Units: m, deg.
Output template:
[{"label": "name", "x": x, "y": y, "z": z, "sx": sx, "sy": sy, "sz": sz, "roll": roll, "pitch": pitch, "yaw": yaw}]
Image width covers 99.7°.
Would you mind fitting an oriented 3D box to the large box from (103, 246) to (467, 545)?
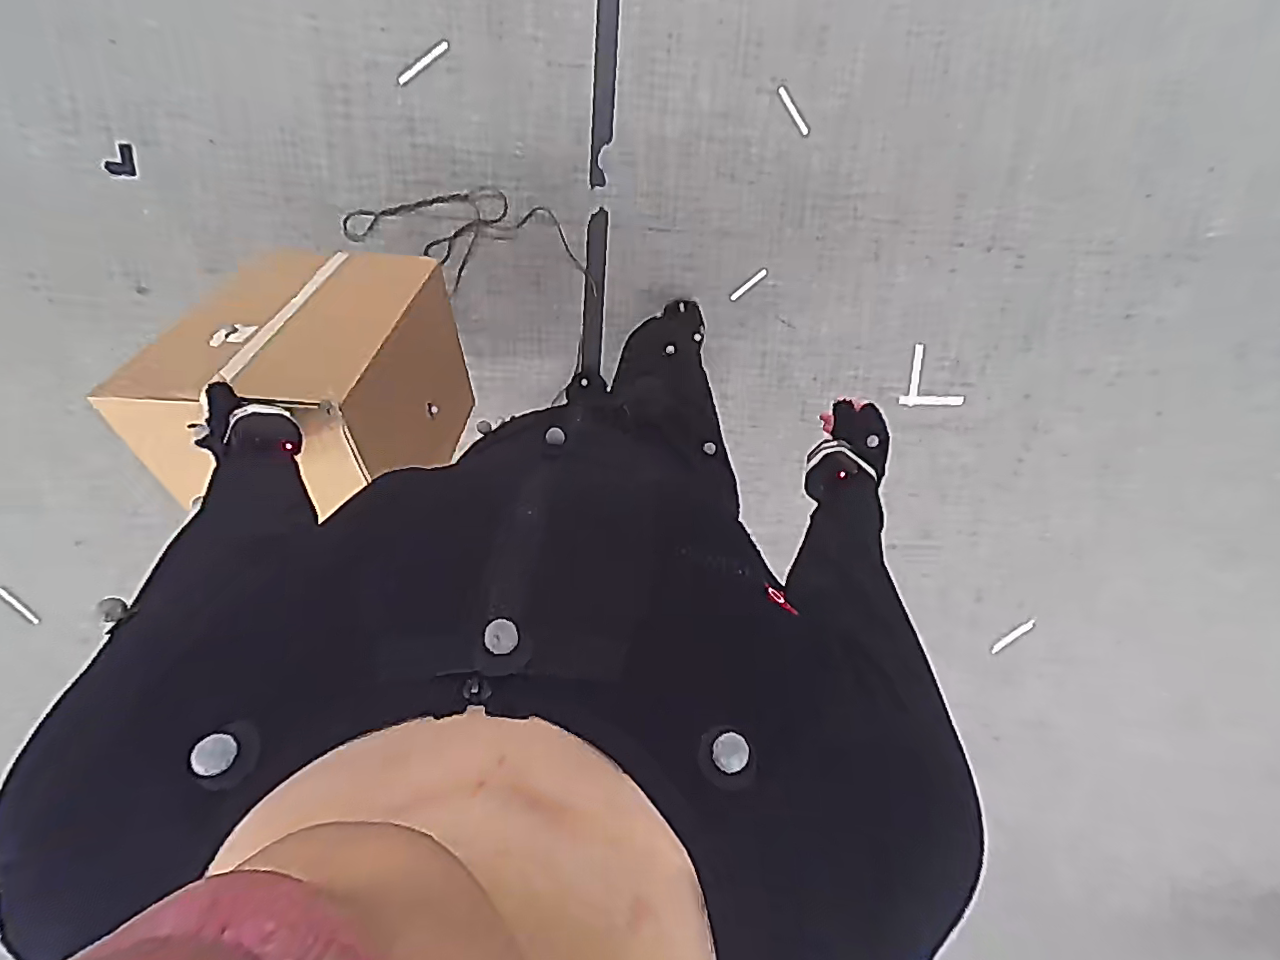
[{"label": "large box", "x": -0.515, "y": -0.147, "z": 0.911, "sx": 0.320, "sy": 0.408, "sz": 0.320, "roll": 3, "pitch": 138, "yaw": 1}]
